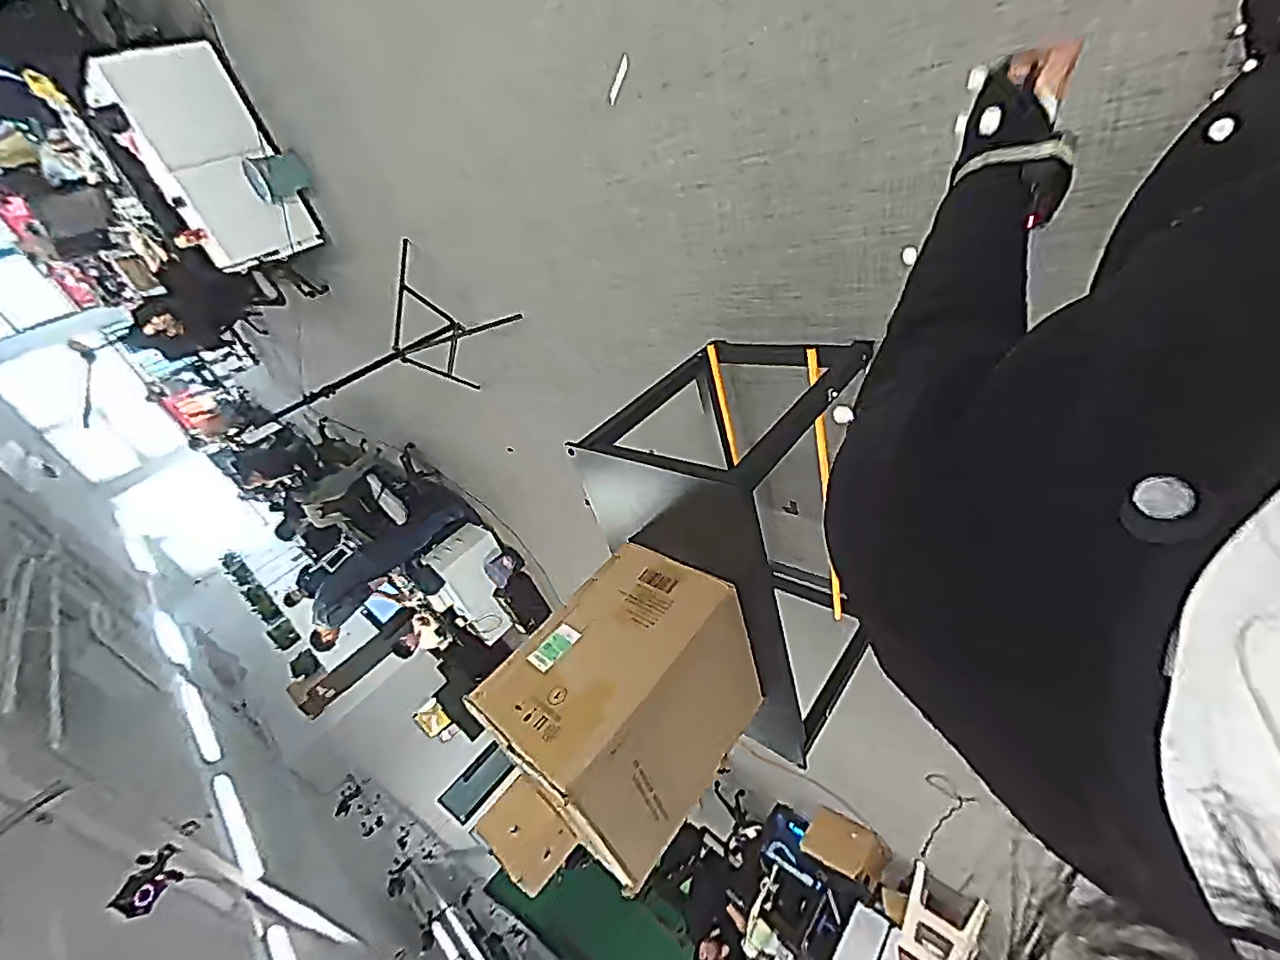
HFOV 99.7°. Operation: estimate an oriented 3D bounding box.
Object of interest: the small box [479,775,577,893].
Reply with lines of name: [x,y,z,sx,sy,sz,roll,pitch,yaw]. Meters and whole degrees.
small box: [-0.288,0.938,1.445,0.179,0.176,0.168,17,137,43]
